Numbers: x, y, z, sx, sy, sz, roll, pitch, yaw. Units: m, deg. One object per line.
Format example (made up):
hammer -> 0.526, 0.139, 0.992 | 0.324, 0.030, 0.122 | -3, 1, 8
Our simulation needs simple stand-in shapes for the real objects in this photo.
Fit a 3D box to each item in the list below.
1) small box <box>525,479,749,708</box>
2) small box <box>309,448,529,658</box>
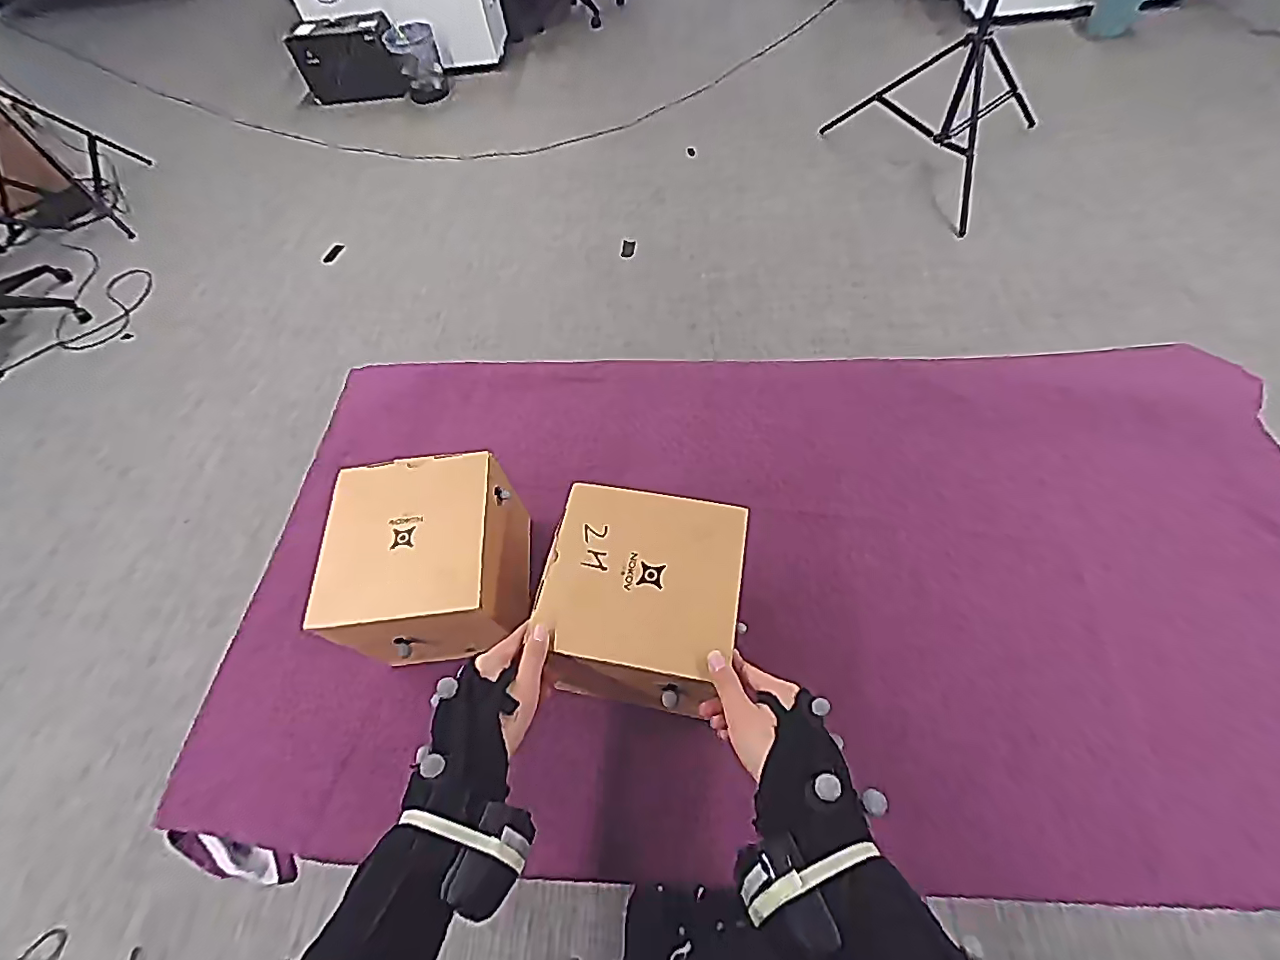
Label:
small box -> 0.007, 0.122, 0.551 | 0.179, 0.176, 0.168 | 8, 58, 9
small box -> -0.225, 0.091, 0.603 | 0.168, 0.176, 0.179 | -8, 58, 1
